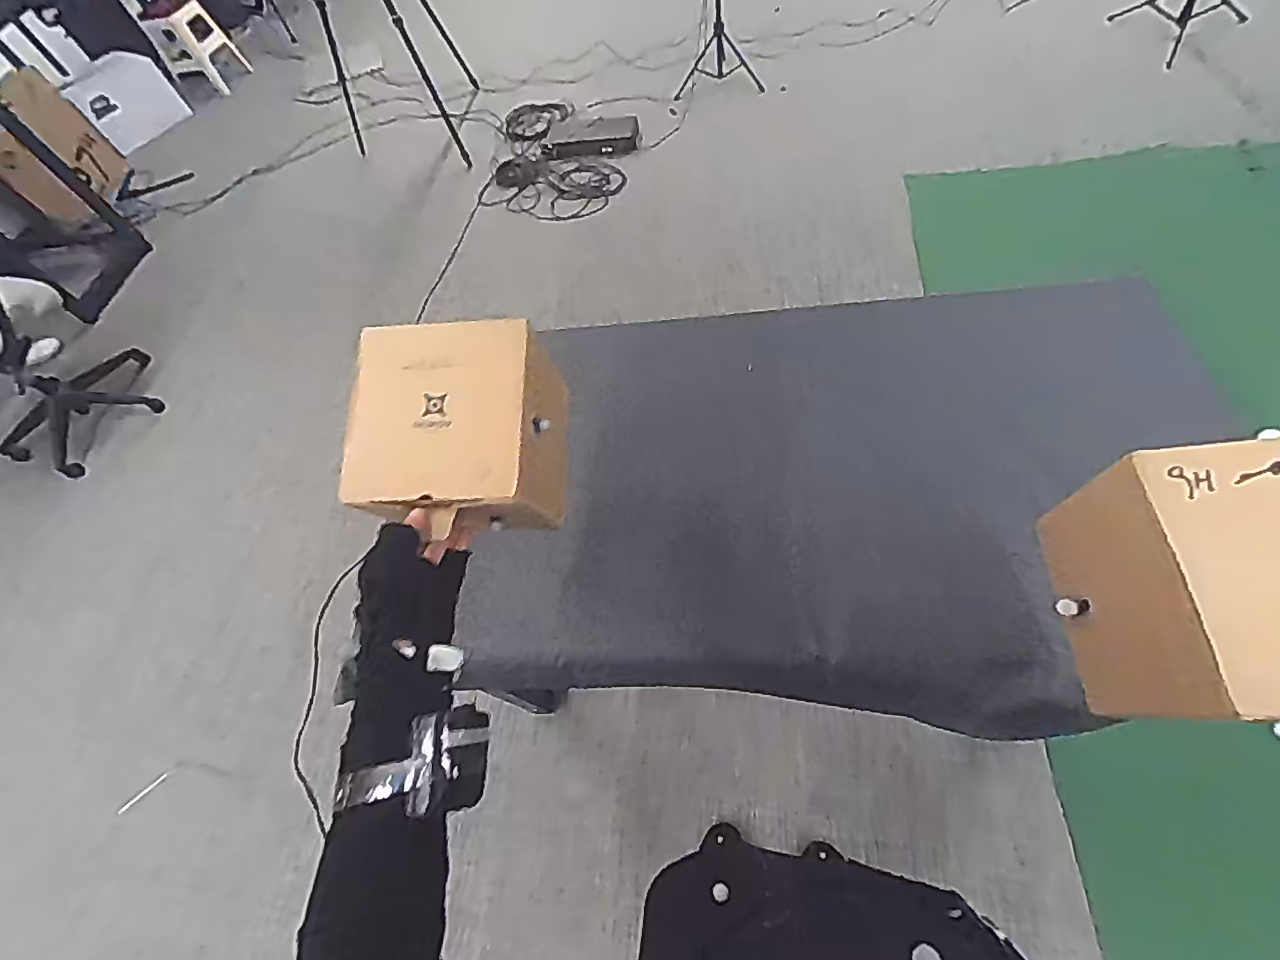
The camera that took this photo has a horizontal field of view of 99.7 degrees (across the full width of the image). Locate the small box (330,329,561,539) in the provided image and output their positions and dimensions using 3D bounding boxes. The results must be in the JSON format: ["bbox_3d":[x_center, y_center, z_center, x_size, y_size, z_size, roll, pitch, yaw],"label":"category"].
[{"bbox_3d":[-0.181,-0.033,0.559,0.168,0.176,0.179,-1,75,4],"label":"small box"}]
